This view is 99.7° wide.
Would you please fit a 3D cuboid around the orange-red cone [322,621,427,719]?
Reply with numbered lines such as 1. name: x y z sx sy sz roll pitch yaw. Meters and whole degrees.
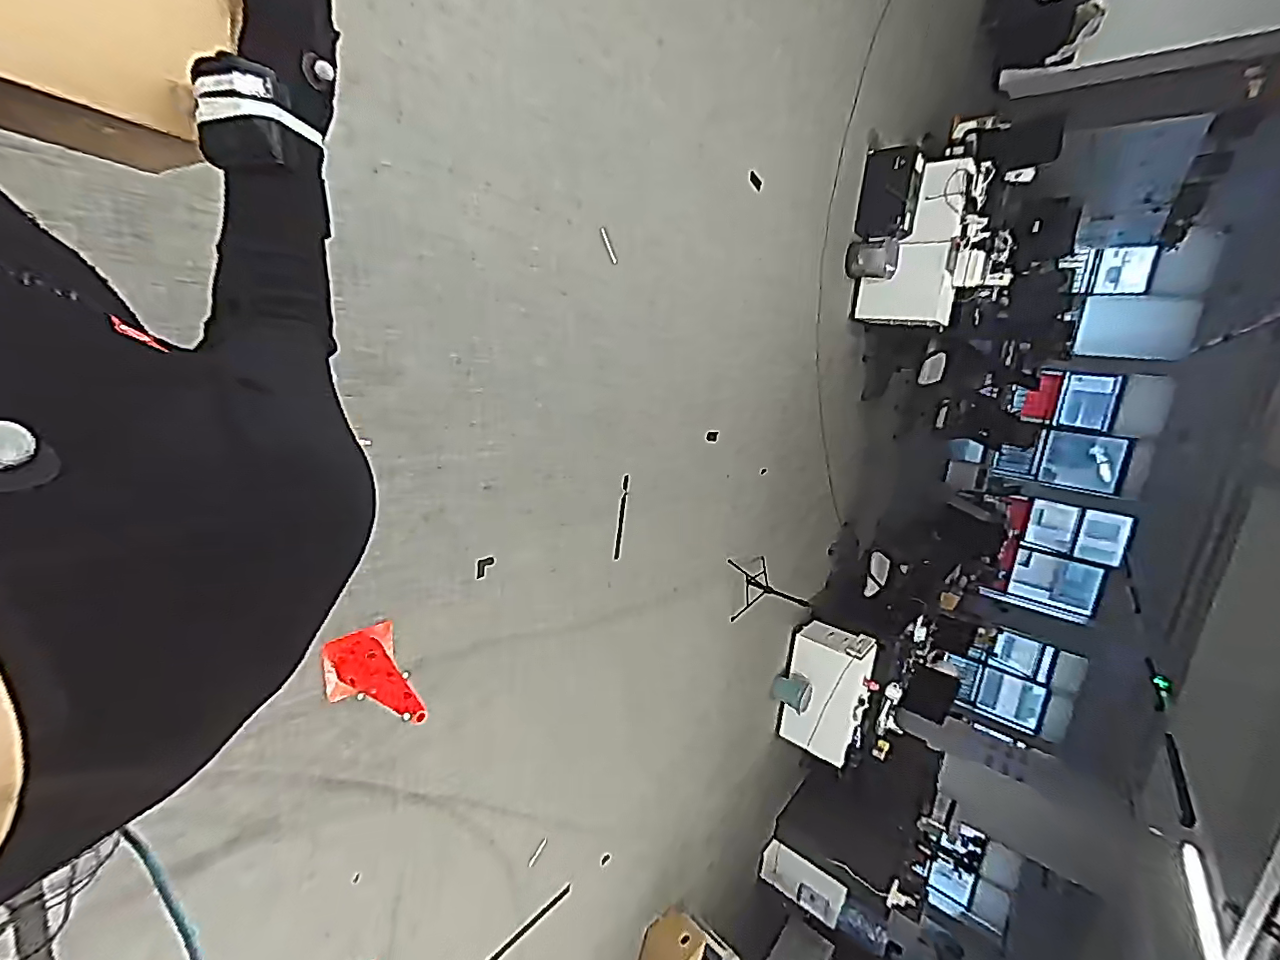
1. orange-red cone: -0.711 0.572 1.517 0.198 0.360 0.199 -14 112 -50

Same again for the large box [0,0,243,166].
1. large box: -0.523 -0.435 0.324 0.408 0.320 0.320 -5 111 -51
